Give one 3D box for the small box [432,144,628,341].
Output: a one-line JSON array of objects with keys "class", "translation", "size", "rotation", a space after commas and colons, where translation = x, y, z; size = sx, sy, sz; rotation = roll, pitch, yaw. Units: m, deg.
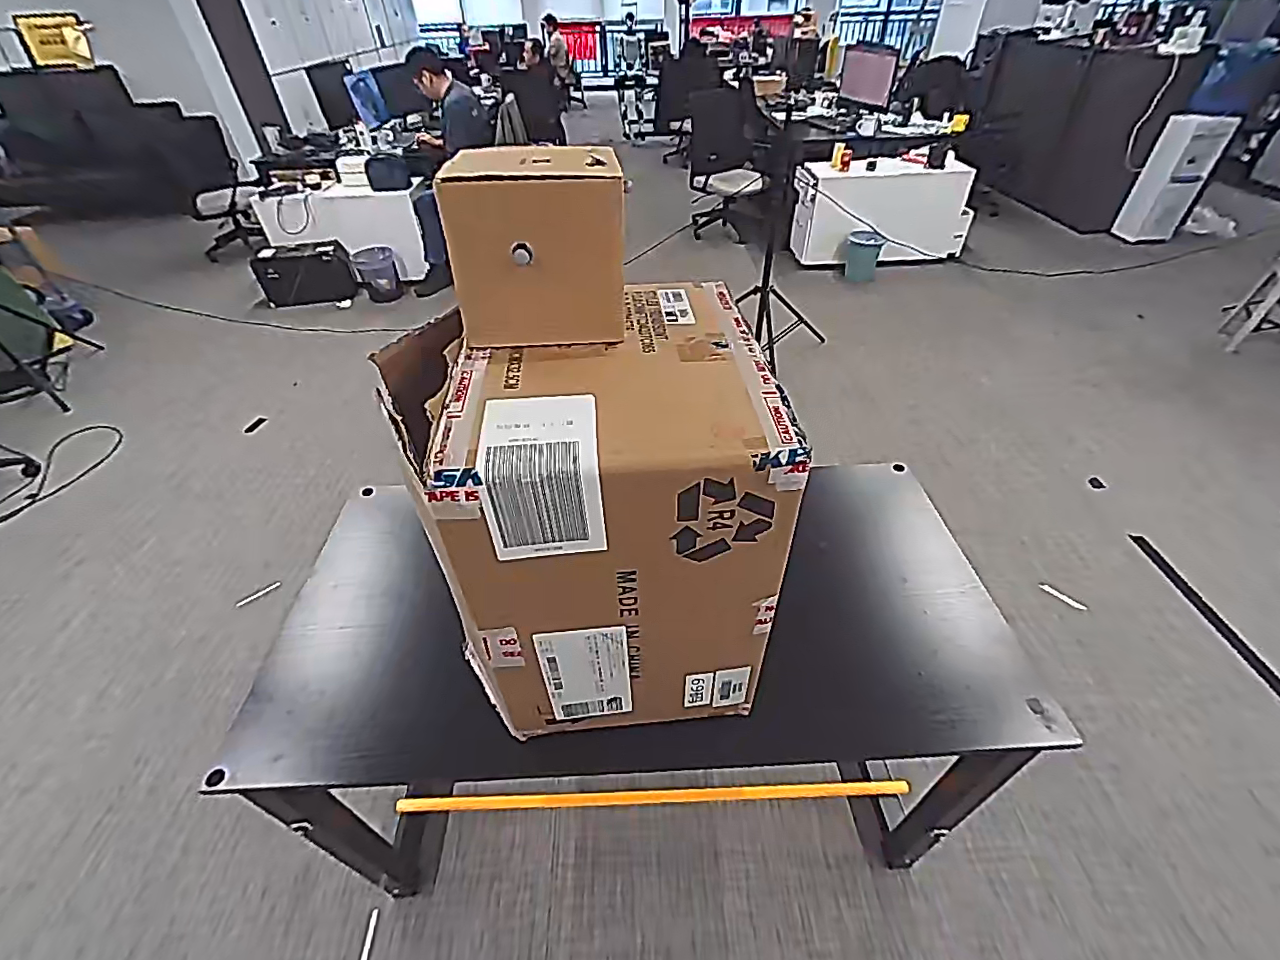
[{"class": "small box", "translation": [-0.109, -0.265, 0.606], "size": [0.179, 0.176, 0.168], "rotation": [-4, 40, -4]}]
